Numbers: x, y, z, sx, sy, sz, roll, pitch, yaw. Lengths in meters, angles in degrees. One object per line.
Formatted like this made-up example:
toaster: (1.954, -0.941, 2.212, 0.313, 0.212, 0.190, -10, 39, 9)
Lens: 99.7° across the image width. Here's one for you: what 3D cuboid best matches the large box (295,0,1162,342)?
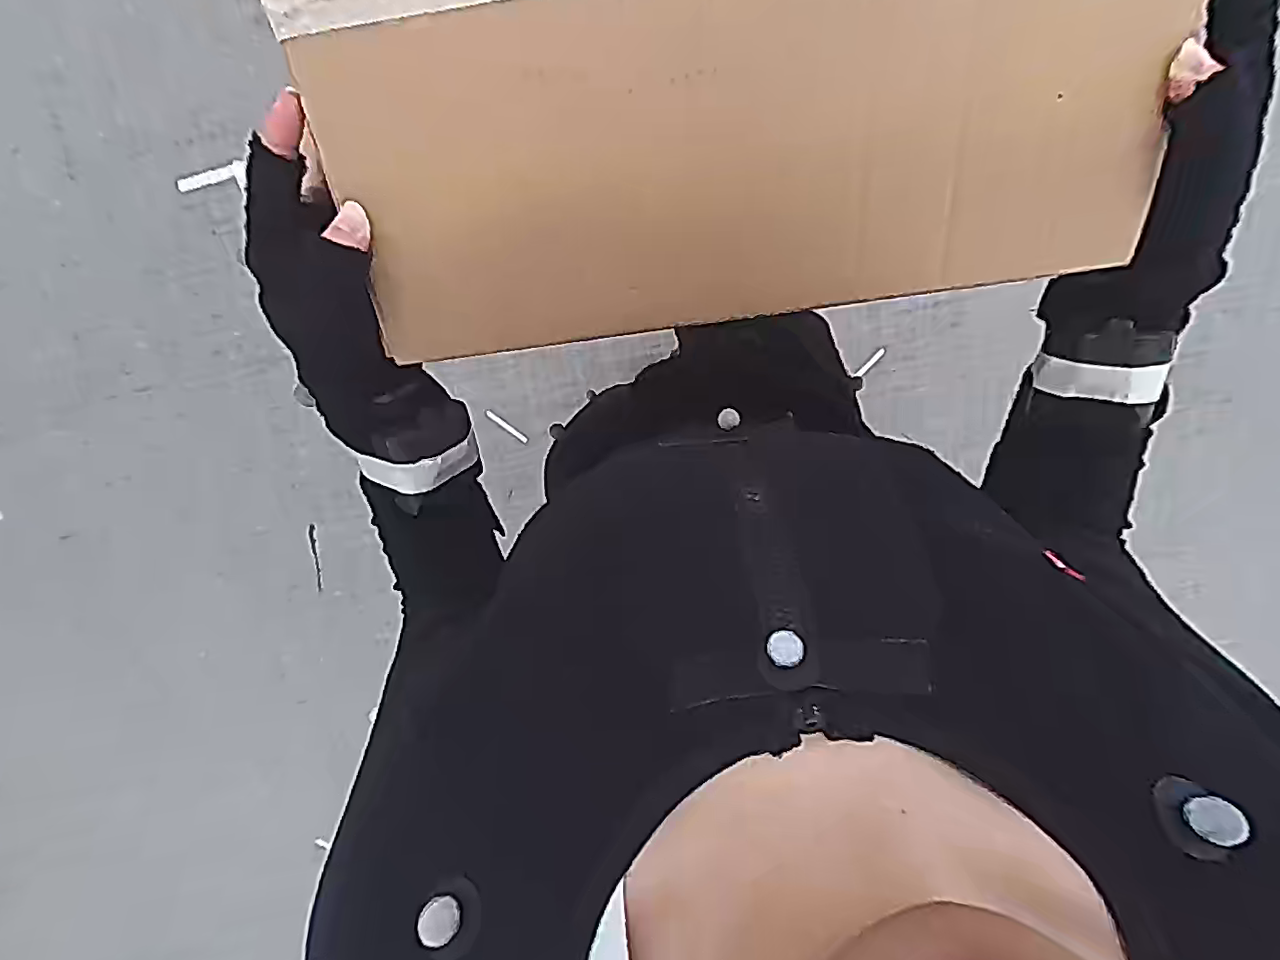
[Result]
large box: (0.034, -0.309, 0.370, 0.408, 0.320, 0.320, -8, 118, 2)
